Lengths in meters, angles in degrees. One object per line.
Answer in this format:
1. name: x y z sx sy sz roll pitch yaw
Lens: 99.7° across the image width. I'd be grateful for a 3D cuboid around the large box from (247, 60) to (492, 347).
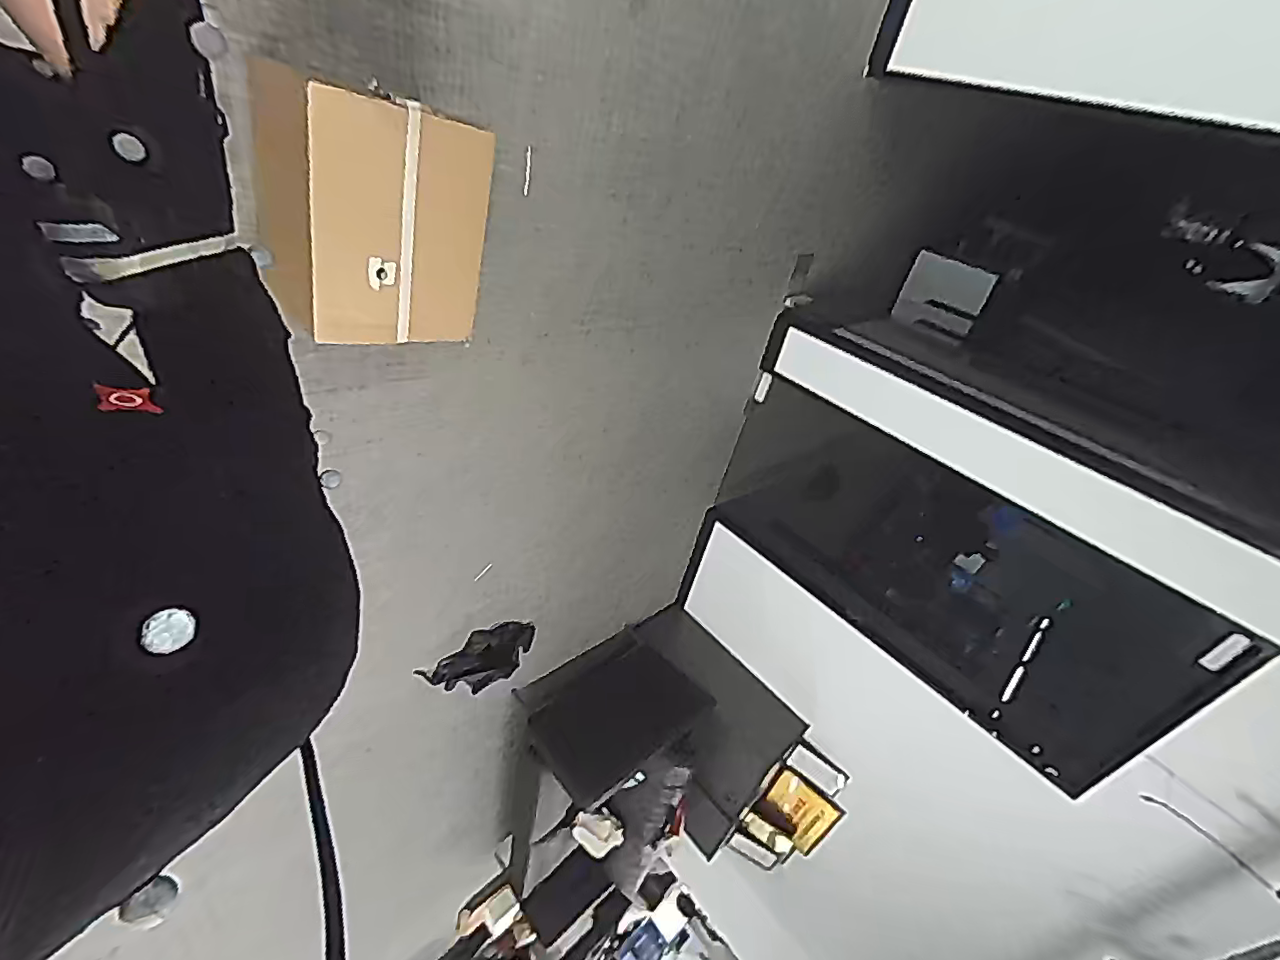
1. large box: -0.526 -0.516 1.057 0.320 0.320 0.408 -15 135 -43
